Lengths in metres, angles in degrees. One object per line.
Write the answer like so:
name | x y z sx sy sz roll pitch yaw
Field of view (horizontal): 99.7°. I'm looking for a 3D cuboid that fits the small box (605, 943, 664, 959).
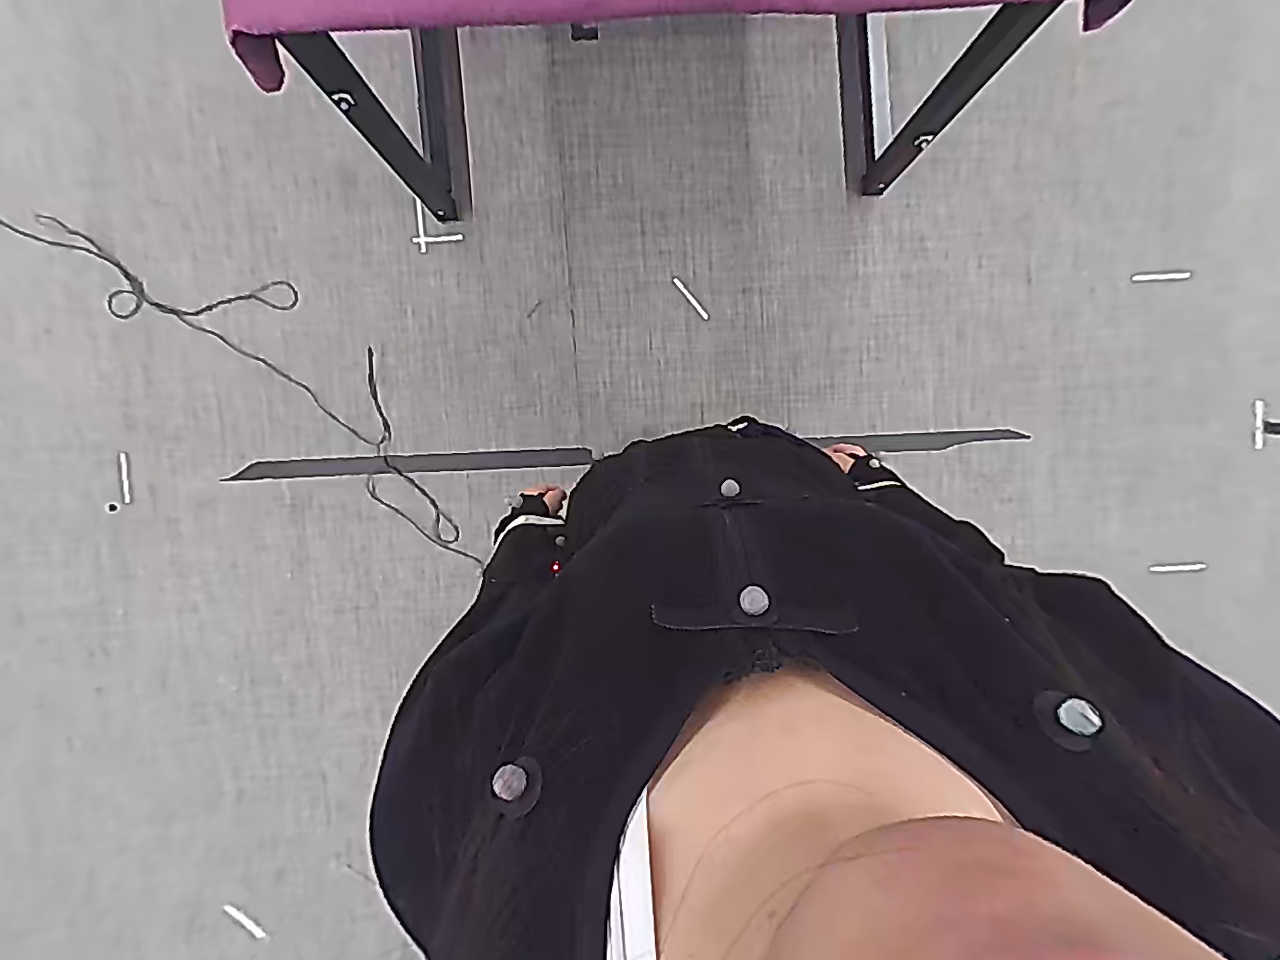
small box | -0.006 1.411 1.455 0.168 0.176 0.179 -9 94 -1
